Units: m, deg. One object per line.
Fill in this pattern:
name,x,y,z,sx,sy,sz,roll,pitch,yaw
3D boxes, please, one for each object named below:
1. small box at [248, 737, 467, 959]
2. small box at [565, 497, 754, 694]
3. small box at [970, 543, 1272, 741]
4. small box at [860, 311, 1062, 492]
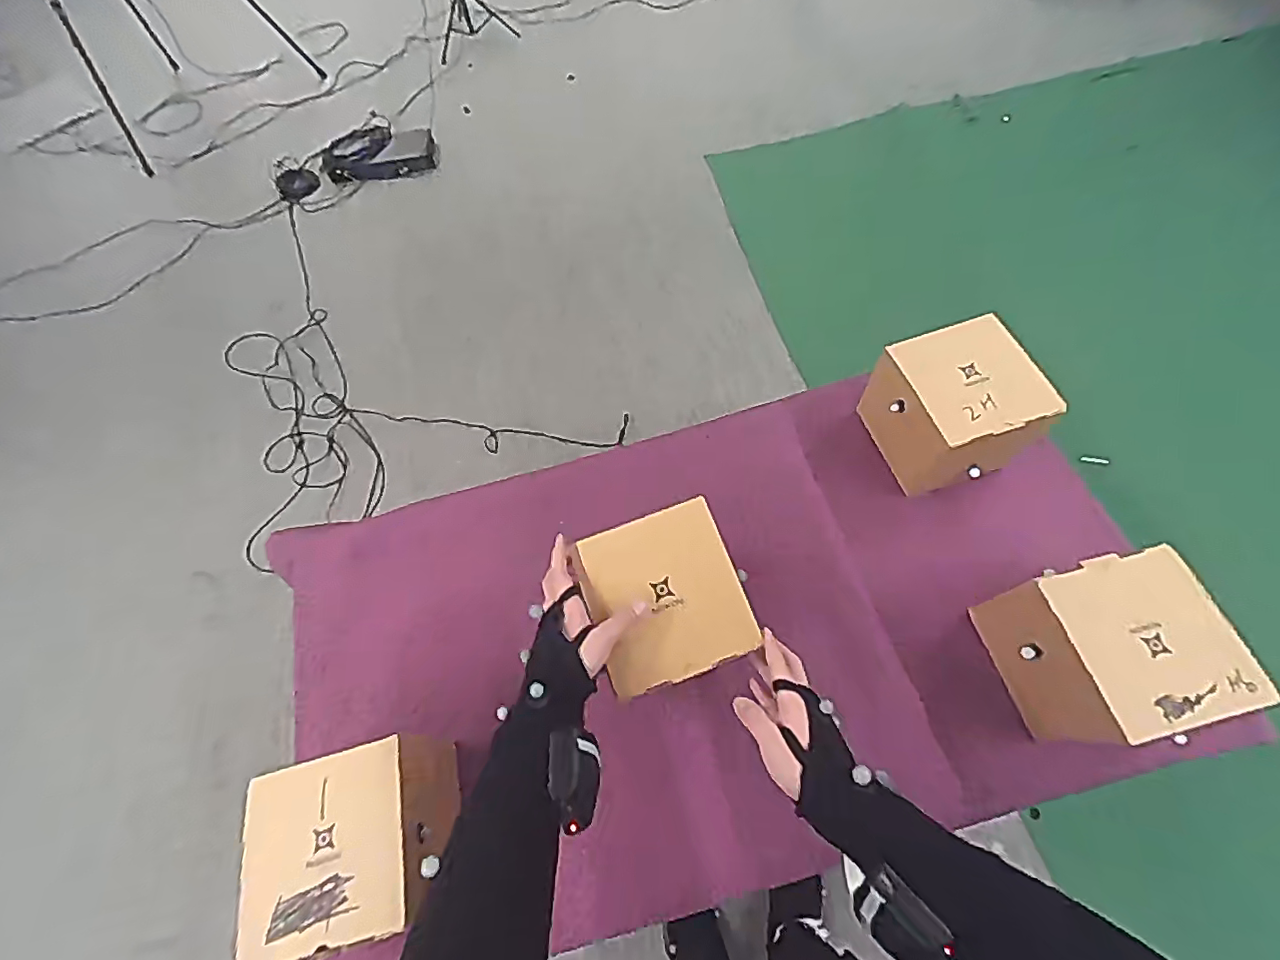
small box,-0.319,0.417,0.640,0.168,0.176,0.179,-16,62,-2
small box,0.021,0.144,0.670,0.168,0.176,0.179,-21,75,-2
small box,0.540,0.200,0.645,0.168,0.176,0.179,-16,65,1
small box,0.450,-0.108,0.798,0.168,0.176,0.179,-18,65,1
